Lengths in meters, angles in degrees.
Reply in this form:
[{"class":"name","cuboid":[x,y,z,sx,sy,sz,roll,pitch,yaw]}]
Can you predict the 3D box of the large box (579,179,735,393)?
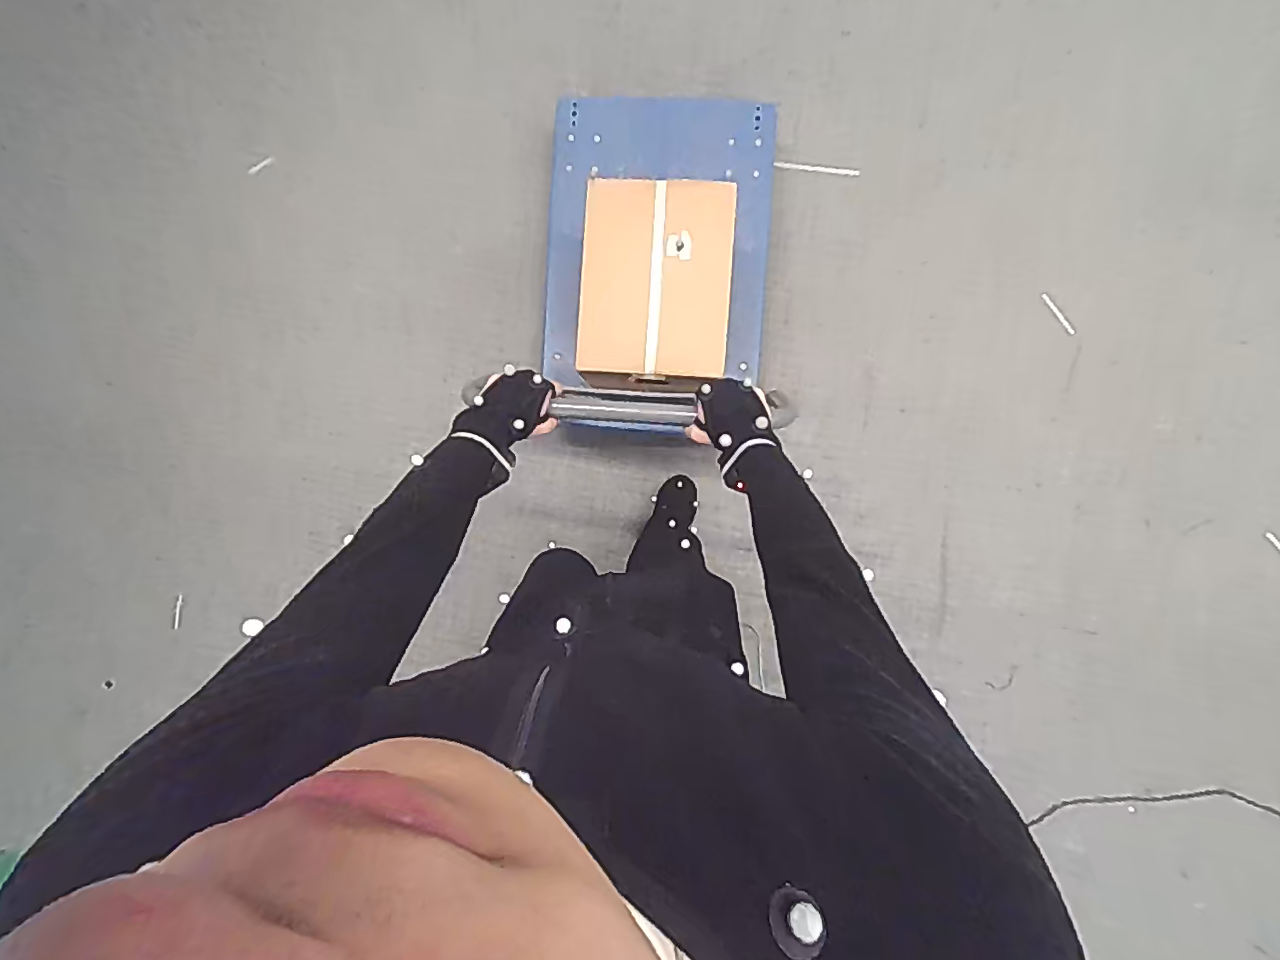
[{"class":"large box","cuboid":[0.045,-0.430,1.281,0.320,0.320,0.408,4,91,3]}]
